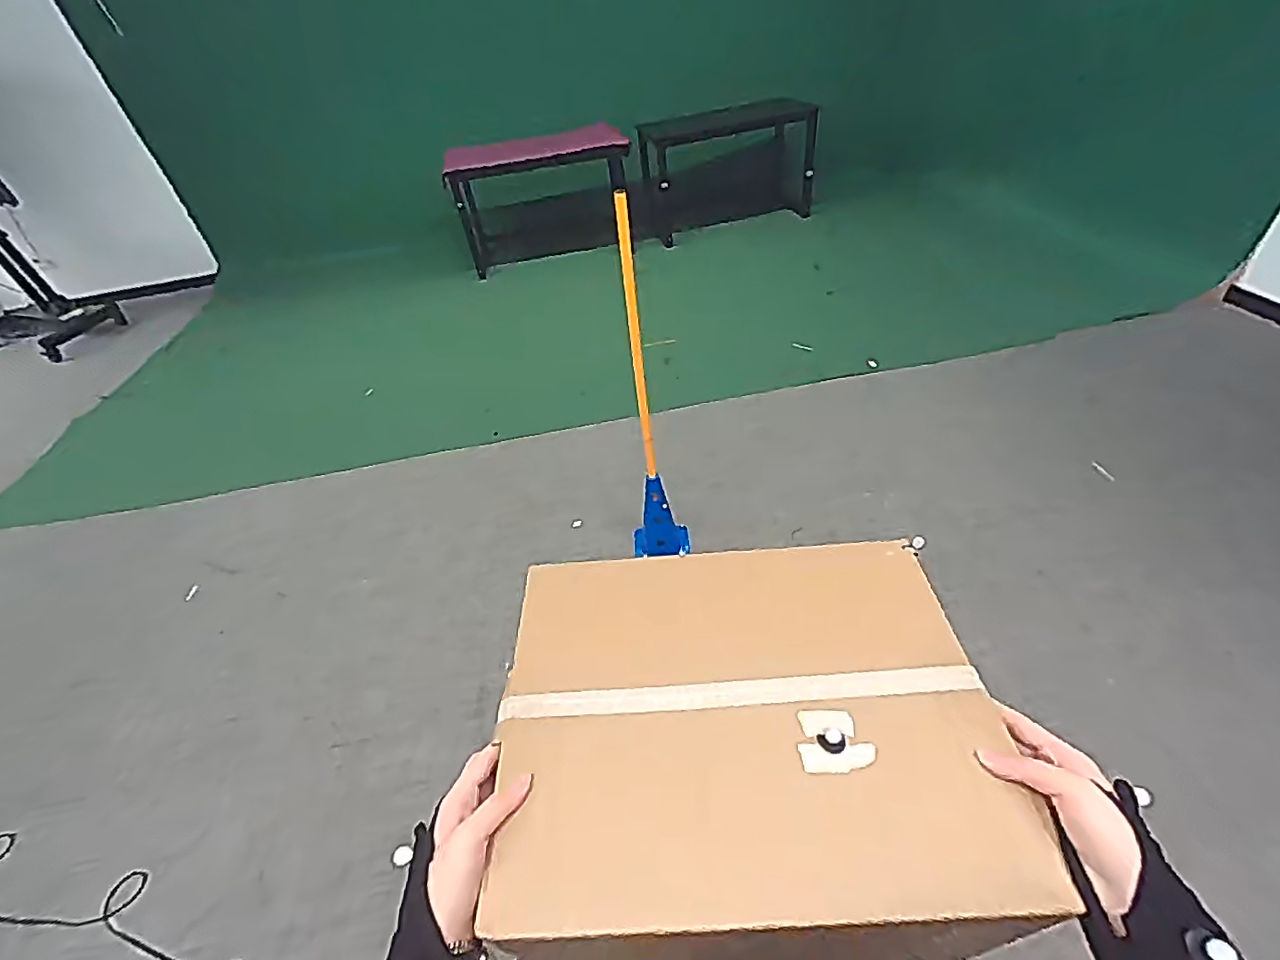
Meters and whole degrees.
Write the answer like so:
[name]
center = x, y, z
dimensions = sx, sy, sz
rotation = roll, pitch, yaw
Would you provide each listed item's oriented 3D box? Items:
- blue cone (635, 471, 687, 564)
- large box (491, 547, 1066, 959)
[blue cone]
center = 0.059, 0.128, 1.873
dimensions = 0.193, 0.380, 0.192
rotation = -4, 41, 4
[large box]
center = 0.095, 0.298, 0.575
dimensions = 0.408, 0.320, 0.320
rotation = -3, 43, 1
